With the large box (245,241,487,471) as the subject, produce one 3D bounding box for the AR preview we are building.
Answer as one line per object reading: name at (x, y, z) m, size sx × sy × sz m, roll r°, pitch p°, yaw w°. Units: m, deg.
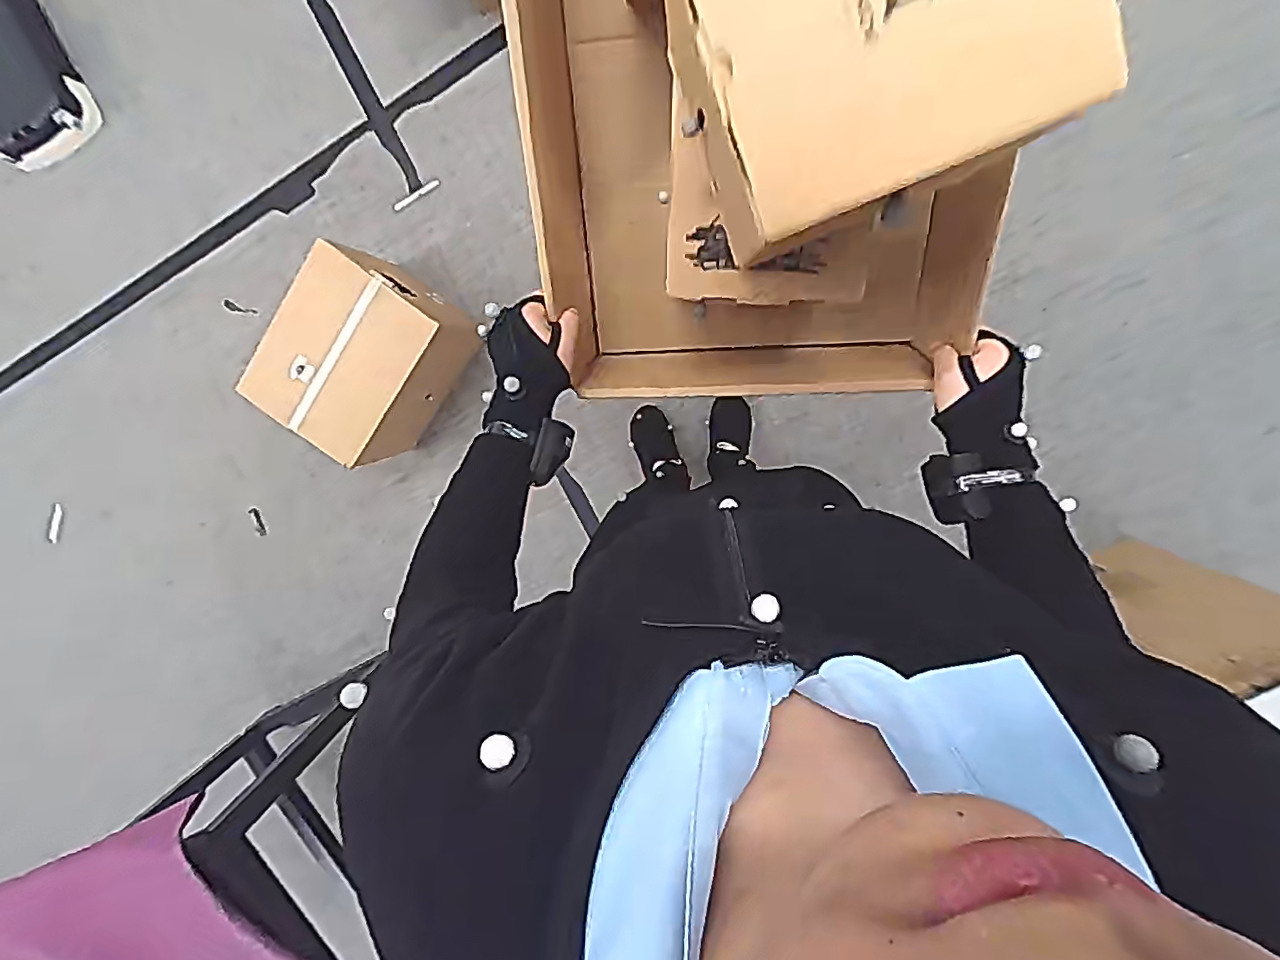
large box at (-0.647, -0.295, 1.331) m, size 0.320 × 0.320 × 0.408 m, roll 36°, pitch 102°, yaw -3°
